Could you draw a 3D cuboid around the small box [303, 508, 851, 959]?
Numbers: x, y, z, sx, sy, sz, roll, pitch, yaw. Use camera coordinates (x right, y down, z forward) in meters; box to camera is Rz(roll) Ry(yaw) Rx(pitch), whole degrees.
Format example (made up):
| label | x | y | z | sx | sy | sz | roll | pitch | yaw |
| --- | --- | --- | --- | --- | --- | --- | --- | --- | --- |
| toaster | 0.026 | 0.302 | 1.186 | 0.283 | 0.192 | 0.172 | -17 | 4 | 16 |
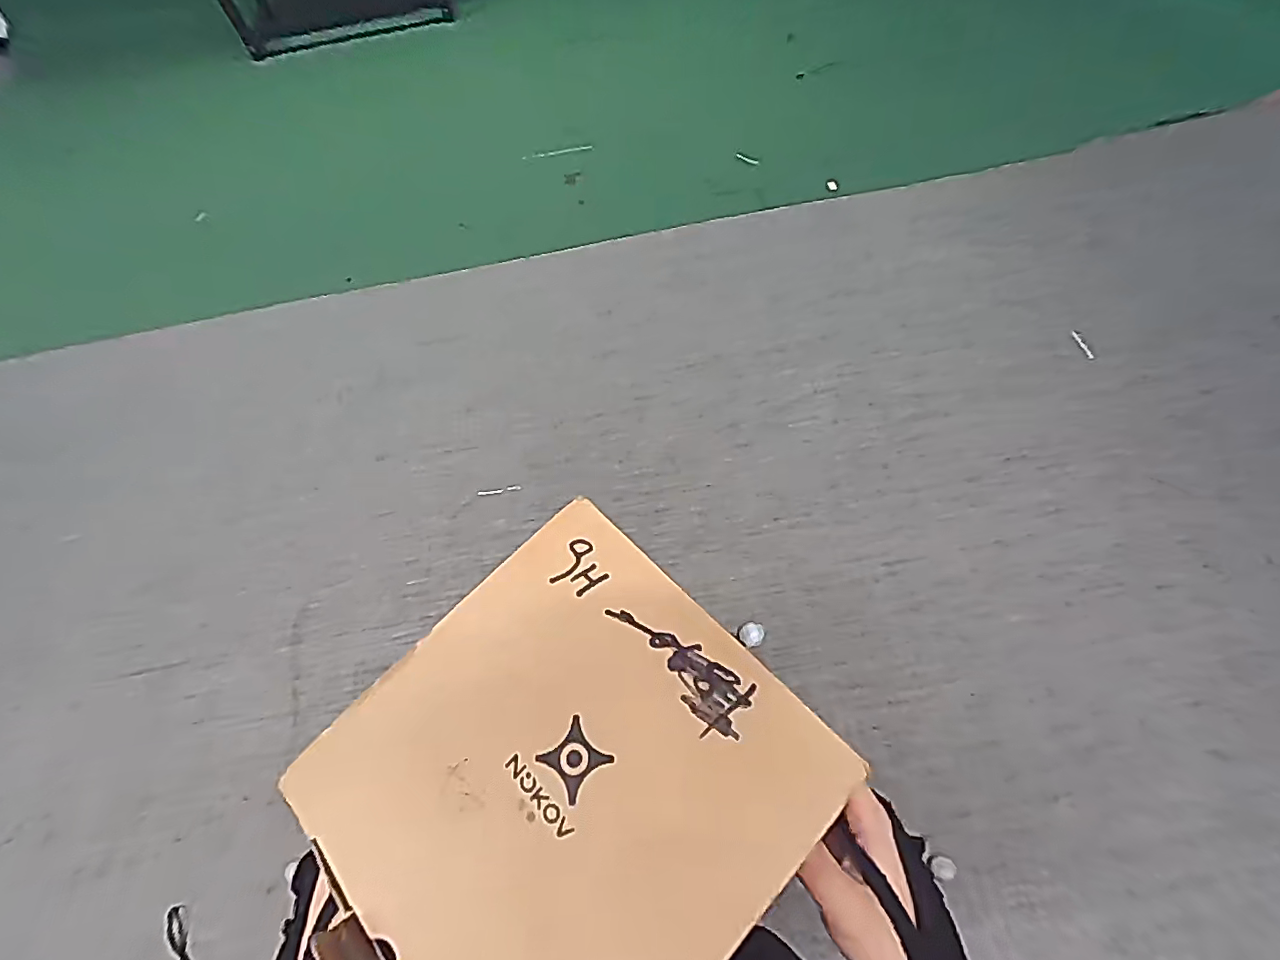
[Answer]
| label | x | y | z | sx | sy | sz | roll | pitch | yaw |
| --- | --- | --- | --- | --- | --- | --- | --- | --- | --- |
| small box | -0.021 | 0.152 | 0.292 | 0.179 | 0.176 | 0.168 | -44 | 67 | -12 |
